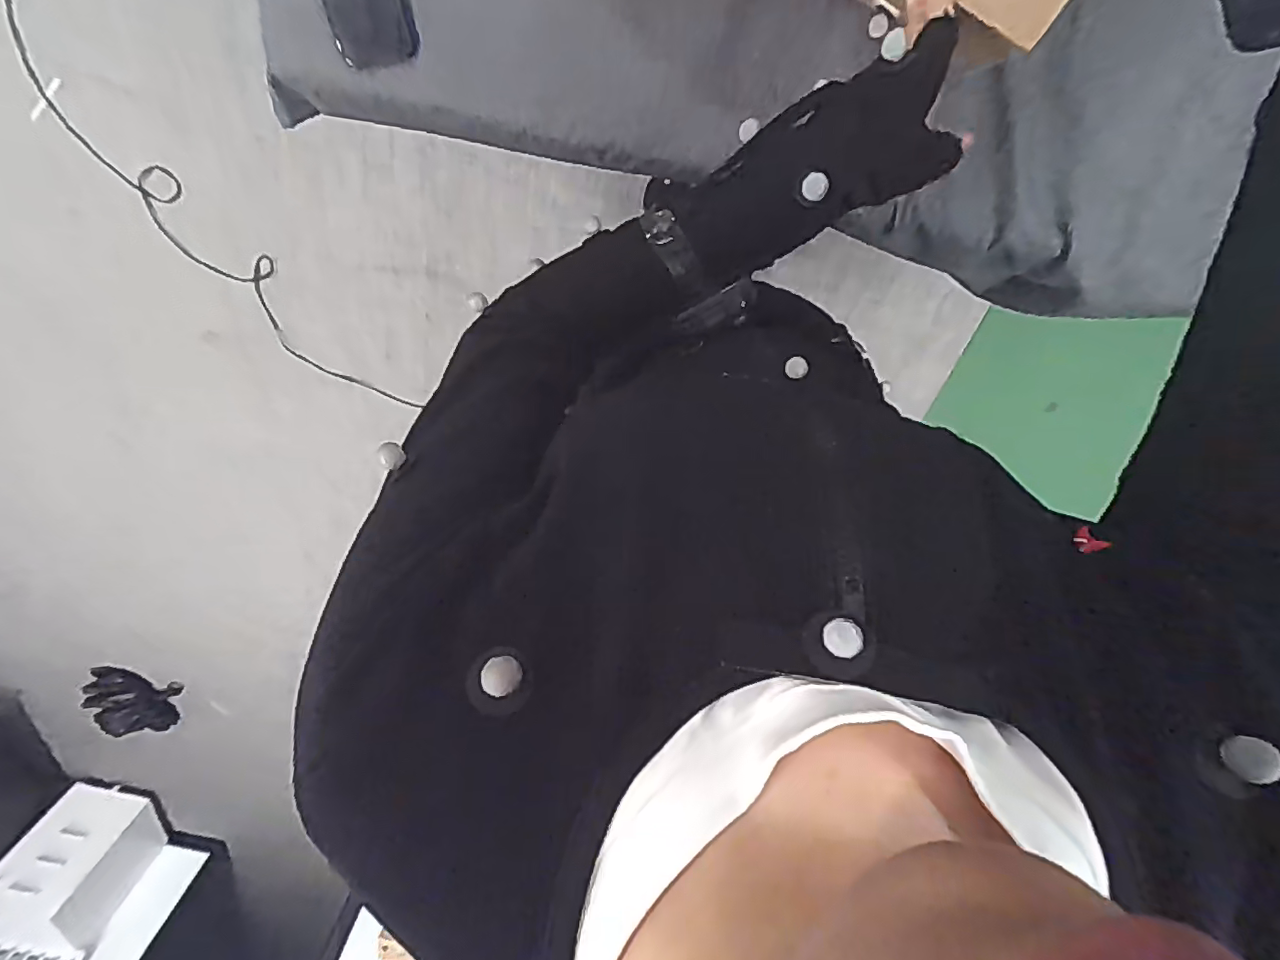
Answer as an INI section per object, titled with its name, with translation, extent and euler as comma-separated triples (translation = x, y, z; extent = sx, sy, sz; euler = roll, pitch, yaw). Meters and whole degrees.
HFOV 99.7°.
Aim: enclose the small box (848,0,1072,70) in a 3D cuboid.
[small box]
translation = 0.243, -0.419, 0.366
extent = 0.168, 0.176, 0.179
euler = 30, 127, -2
